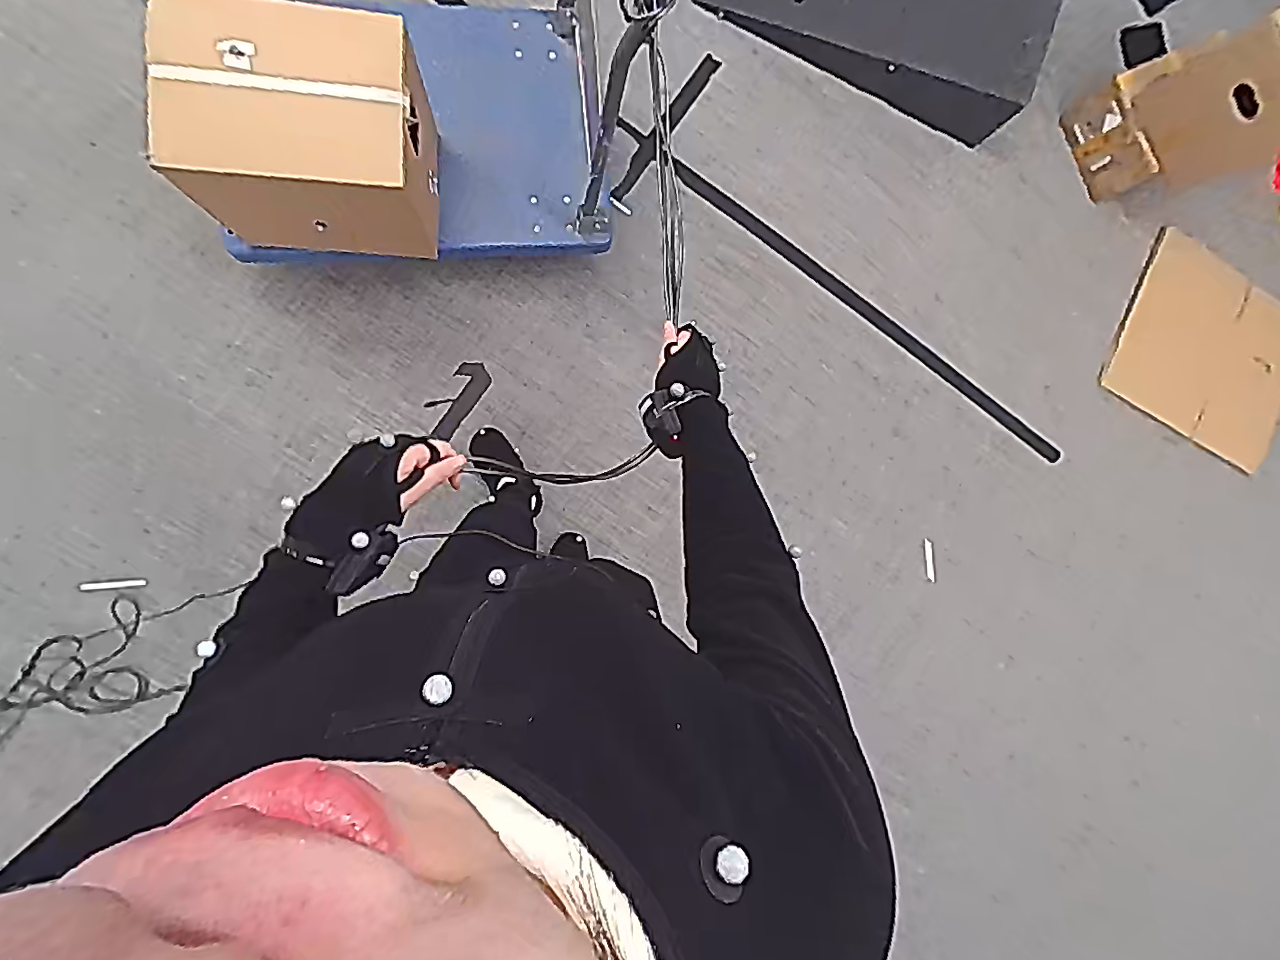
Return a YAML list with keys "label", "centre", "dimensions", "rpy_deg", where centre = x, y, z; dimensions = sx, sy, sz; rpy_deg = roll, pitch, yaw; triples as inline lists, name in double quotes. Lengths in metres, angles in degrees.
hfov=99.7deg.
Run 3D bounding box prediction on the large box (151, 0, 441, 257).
- label: "large box"
  centre: [-0.638, -0.663, 1.077]
  dimensions: [0.408, 0.320, 0.320]
  rpy_deg: [0, 89, -9]
